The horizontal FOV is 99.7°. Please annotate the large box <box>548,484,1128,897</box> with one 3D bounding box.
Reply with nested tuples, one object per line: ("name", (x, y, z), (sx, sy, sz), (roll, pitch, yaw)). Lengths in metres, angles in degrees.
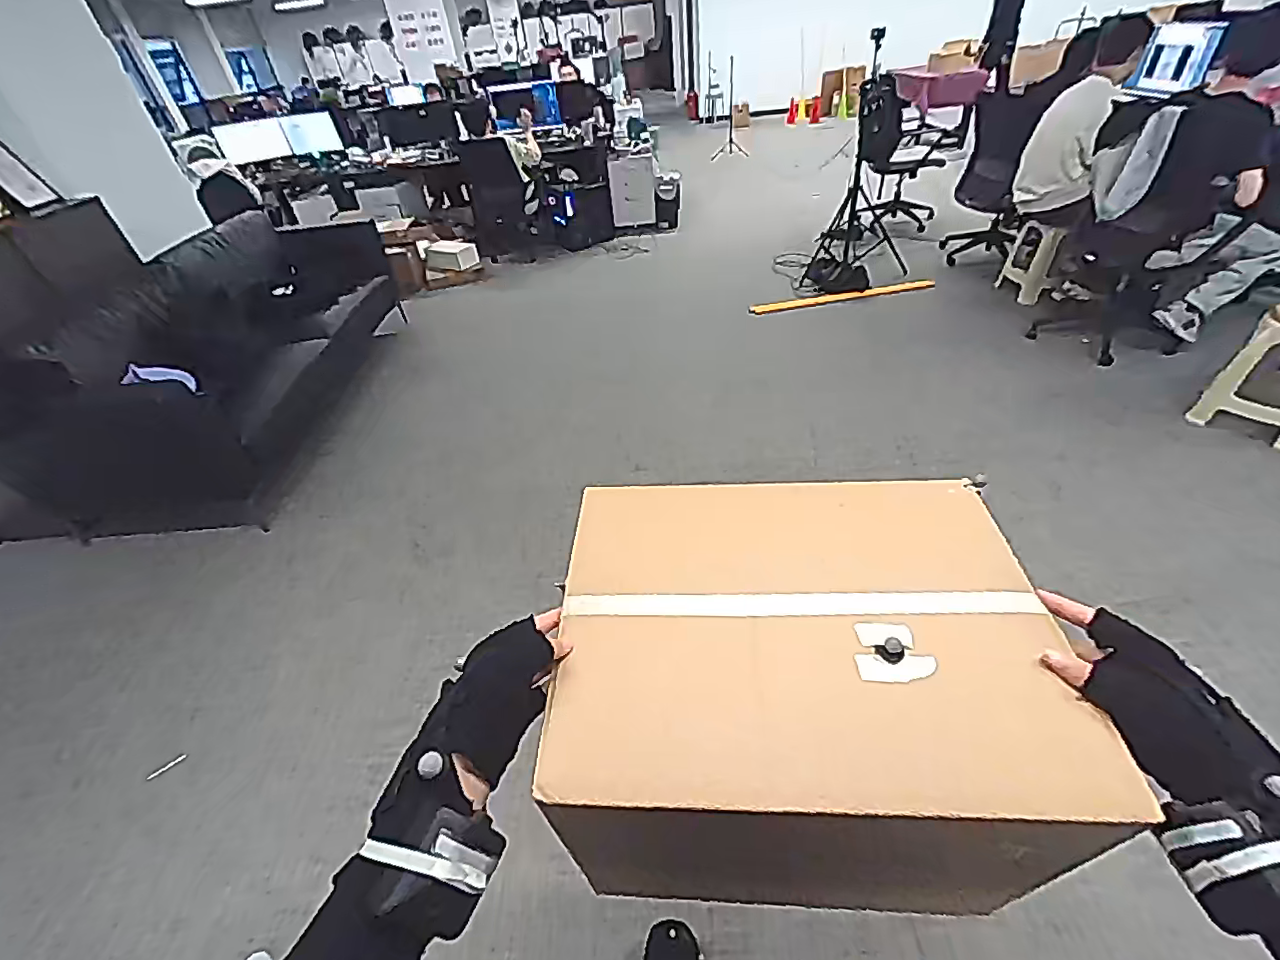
("large box", (0.145, 0.224, 0.581), (0.408, 0.320, 0.320), (-2, 43, 5))
